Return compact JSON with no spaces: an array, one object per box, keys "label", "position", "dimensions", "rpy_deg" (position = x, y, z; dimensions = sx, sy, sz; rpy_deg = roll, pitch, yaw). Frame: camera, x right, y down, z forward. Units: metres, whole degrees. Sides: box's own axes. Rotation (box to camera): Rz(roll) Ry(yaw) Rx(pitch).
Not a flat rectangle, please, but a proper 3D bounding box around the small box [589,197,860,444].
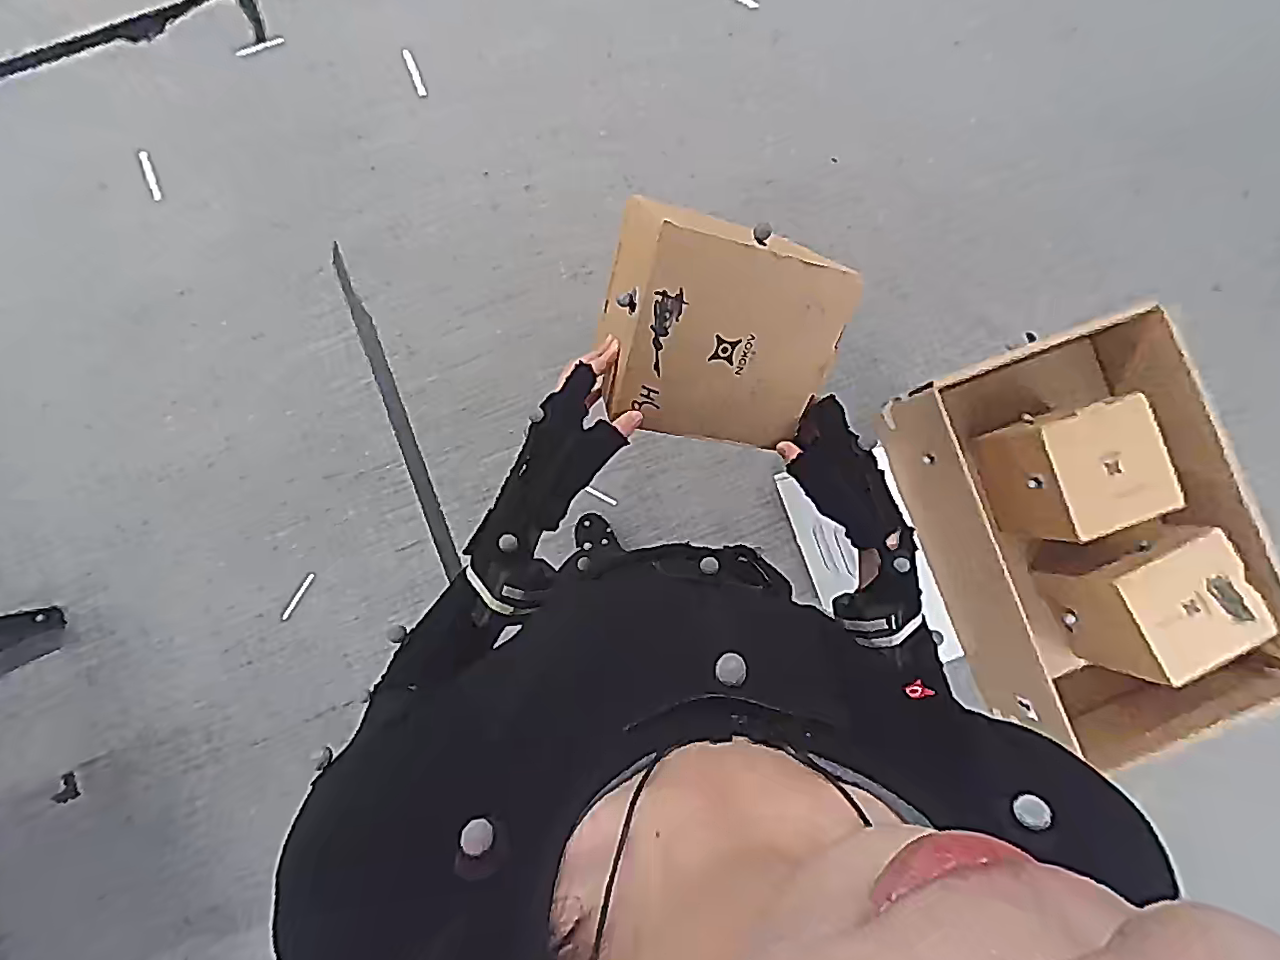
[{"label":"small box","position":[0.059,-0.153,0.506],"dimensions":[0.179,0.176,0.168],"rpy_deg":[7,120,-16]}]
